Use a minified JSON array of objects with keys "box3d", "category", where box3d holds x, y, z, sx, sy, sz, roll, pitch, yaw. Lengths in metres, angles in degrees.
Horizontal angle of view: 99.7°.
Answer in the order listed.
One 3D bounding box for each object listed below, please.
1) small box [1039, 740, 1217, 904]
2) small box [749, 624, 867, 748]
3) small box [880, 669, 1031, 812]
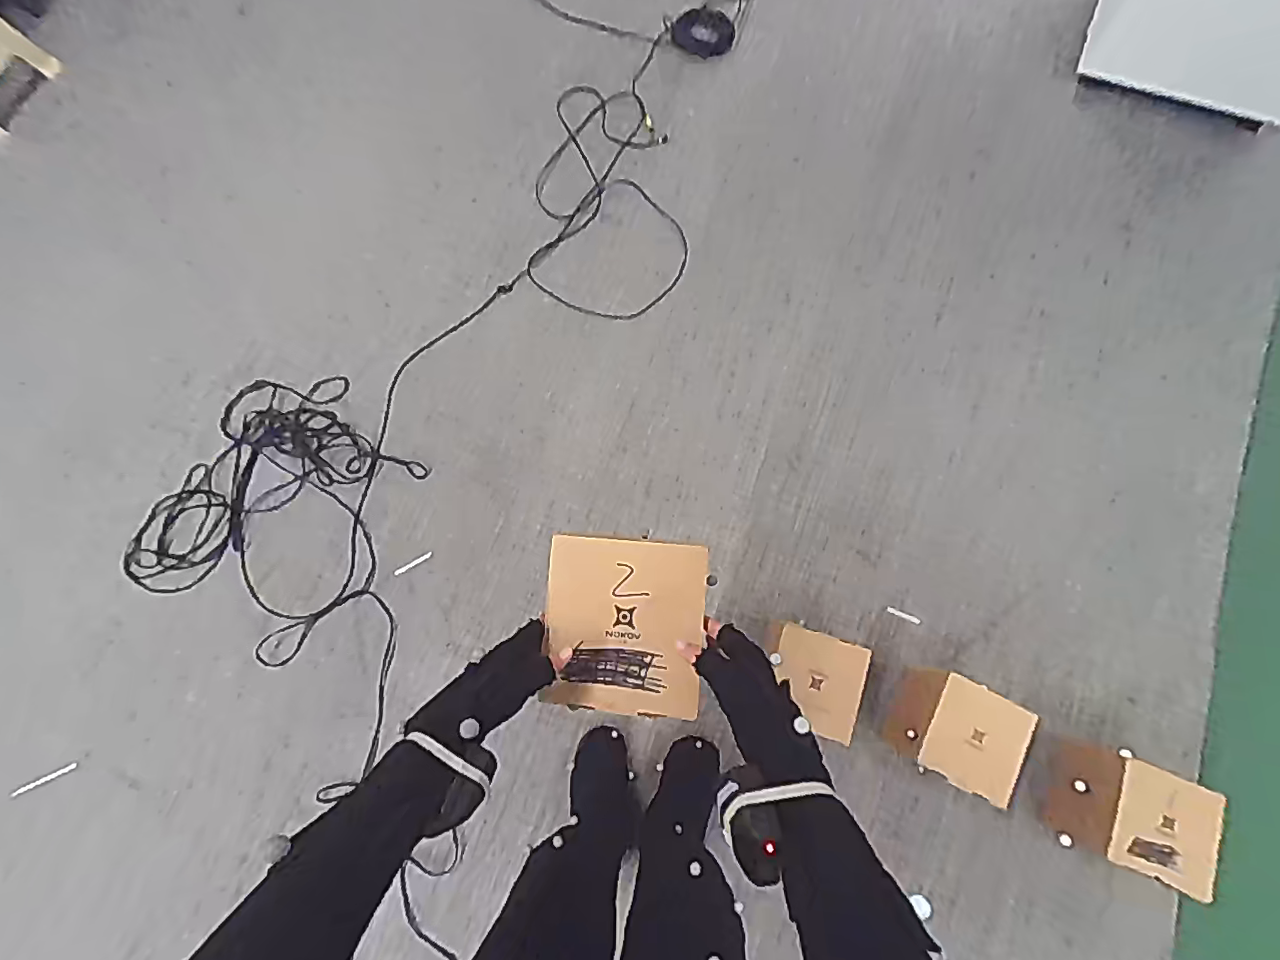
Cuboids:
[{"box3d":[0.880,0.612,0.993,0.168,0.176,0.179,22,77,7],"category":"small box"},{"box3d":[0.322,0.393,1.069,0.168,0.176,0.179,17,79,8],"category":"small box"},{"box3d":[0.592,0.482,1.037,0.168,0.176,0.179,27,79,8],"category":"small box"}]
